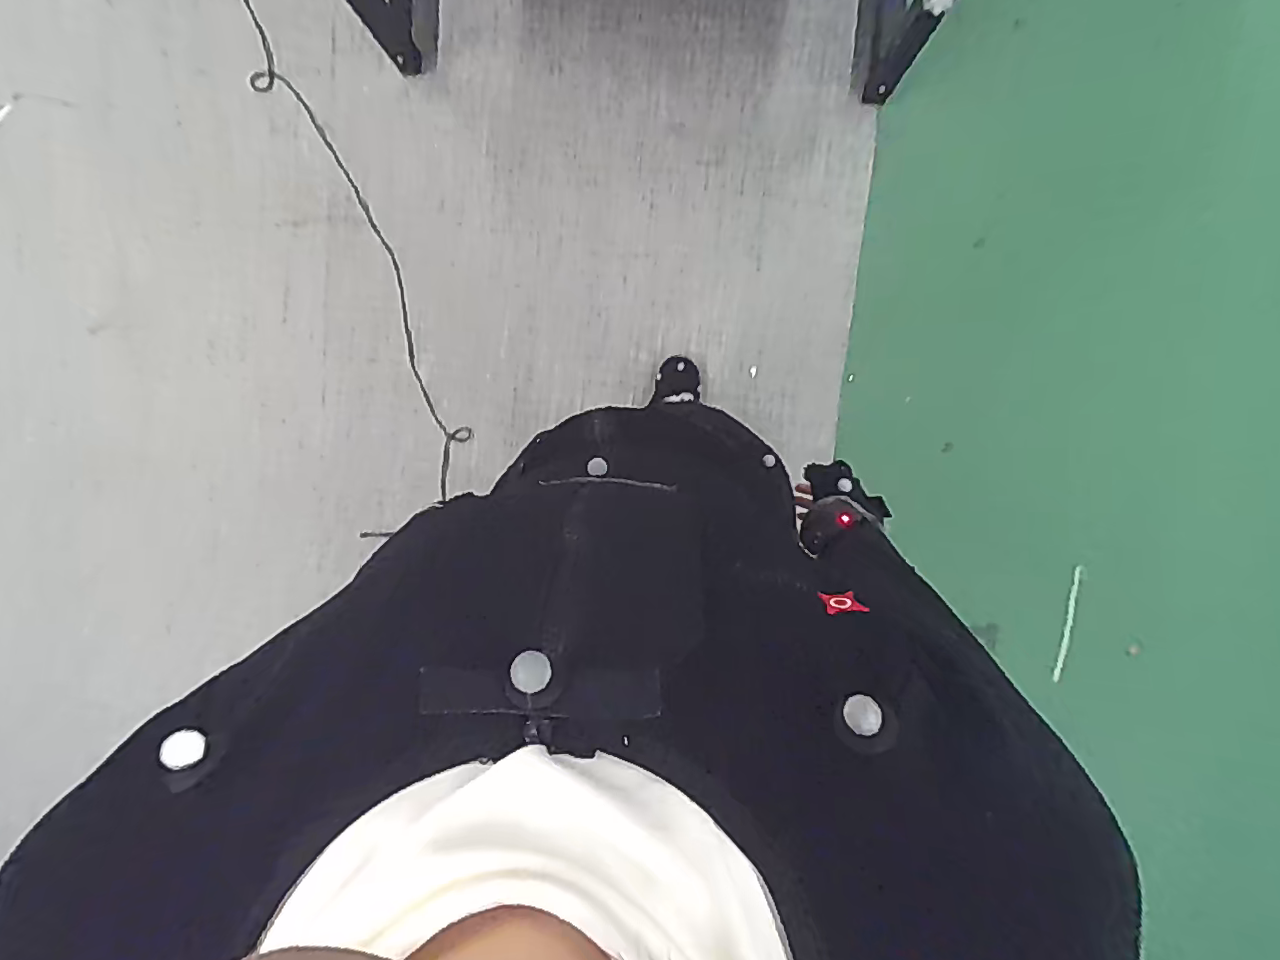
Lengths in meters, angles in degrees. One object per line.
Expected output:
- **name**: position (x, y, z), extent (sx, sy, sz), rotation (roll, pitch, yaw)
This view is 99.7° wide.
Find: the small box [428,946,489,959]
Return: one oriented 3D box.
- **small box**: position (-0.550, 1.490, 1.546), extent (0.179, 0.176, 0.168), rotation (9, 98, 0)
